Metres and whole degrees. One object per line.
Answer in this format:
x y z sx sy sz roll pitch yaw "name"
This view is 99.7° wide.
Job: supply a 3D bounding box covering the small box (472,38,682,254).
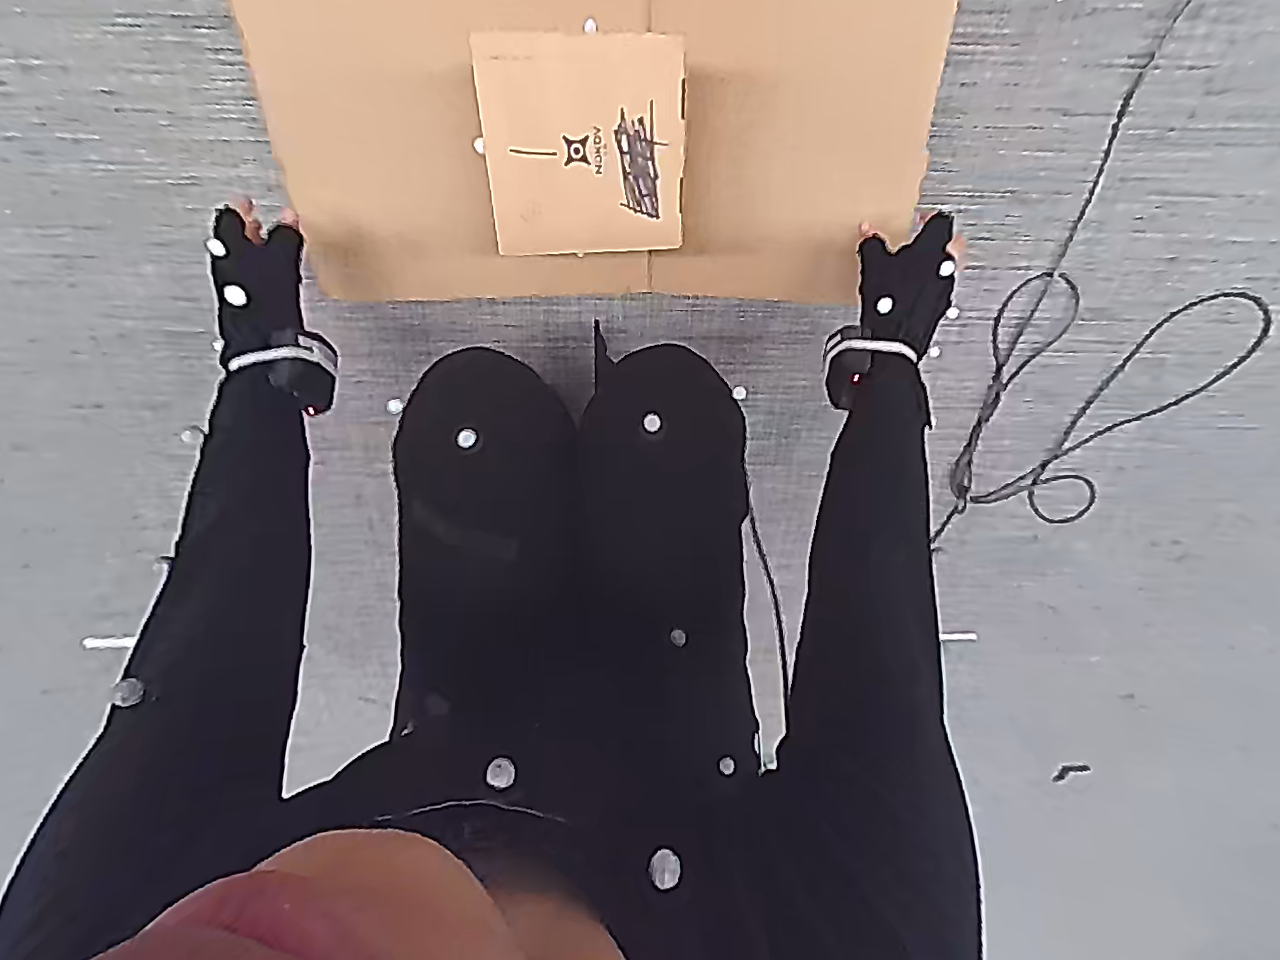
-0.060 -0.335 0.553 0.179 0.176 0.168 -4 122 -5 "small box"
